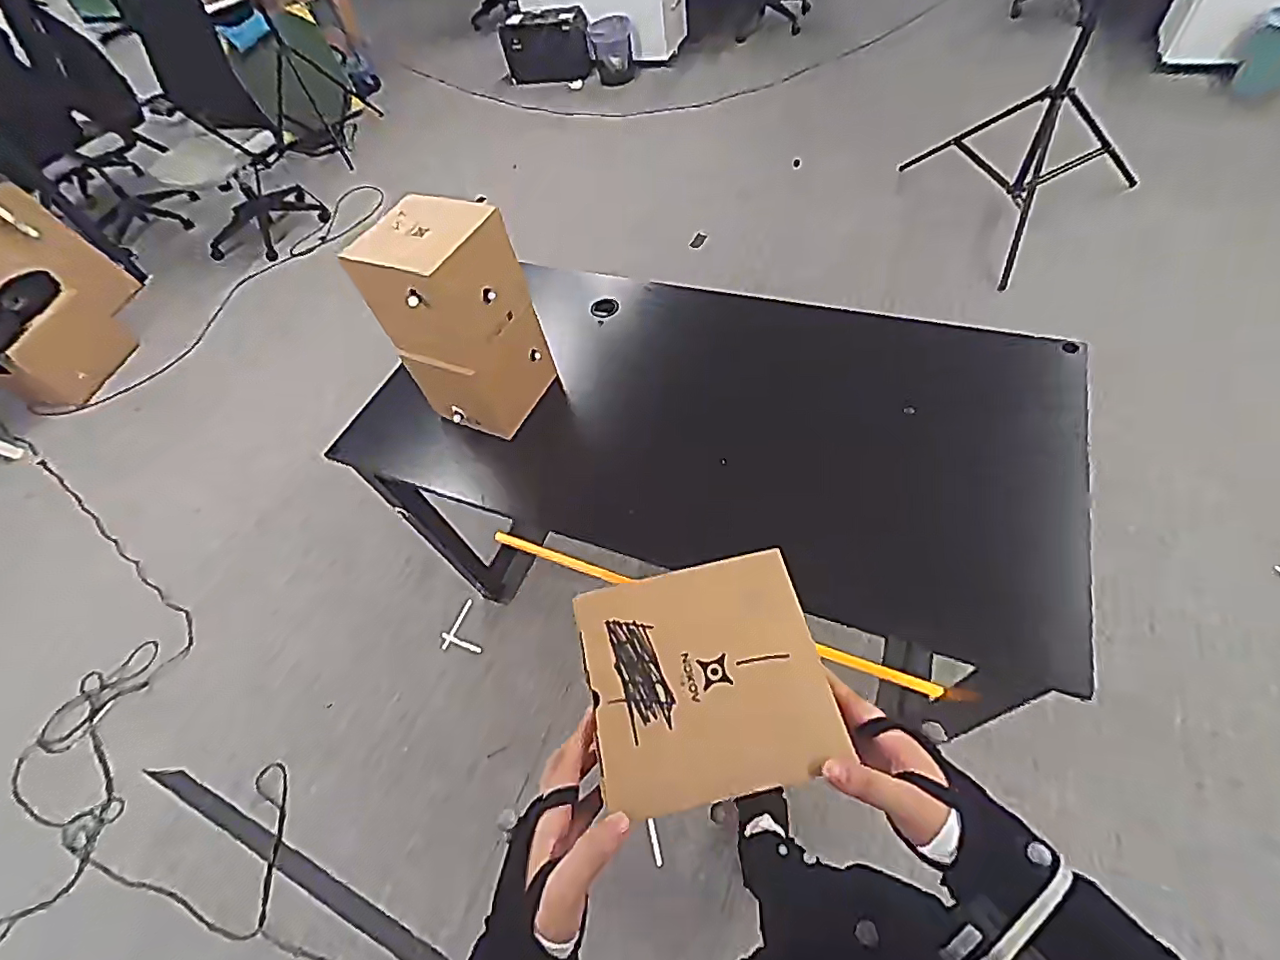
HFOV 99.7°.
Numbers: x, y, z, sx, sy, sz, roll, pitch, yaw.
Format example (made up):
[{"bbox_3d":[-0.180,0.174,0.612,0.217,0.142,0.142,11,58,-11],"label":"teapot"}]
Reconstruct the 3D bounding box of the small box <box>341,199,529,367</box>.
[{"bbox_3d":[-0.296,-0.296,0.826,0.179,0.176,0.168,18,60,21],"label":"small box"}]

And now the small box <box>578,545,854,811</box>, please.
[{"bbox_3d":[0.054,0.179,0.473,0.179,0.176,0.168,-12,60,-3],"label":"small box"}]

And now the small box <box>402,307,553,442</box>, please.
[{"bbox_3d":[-0.272,-0.198,0.957,0.168,0.176,0.179,17,62,21],"label":"small box"}]
